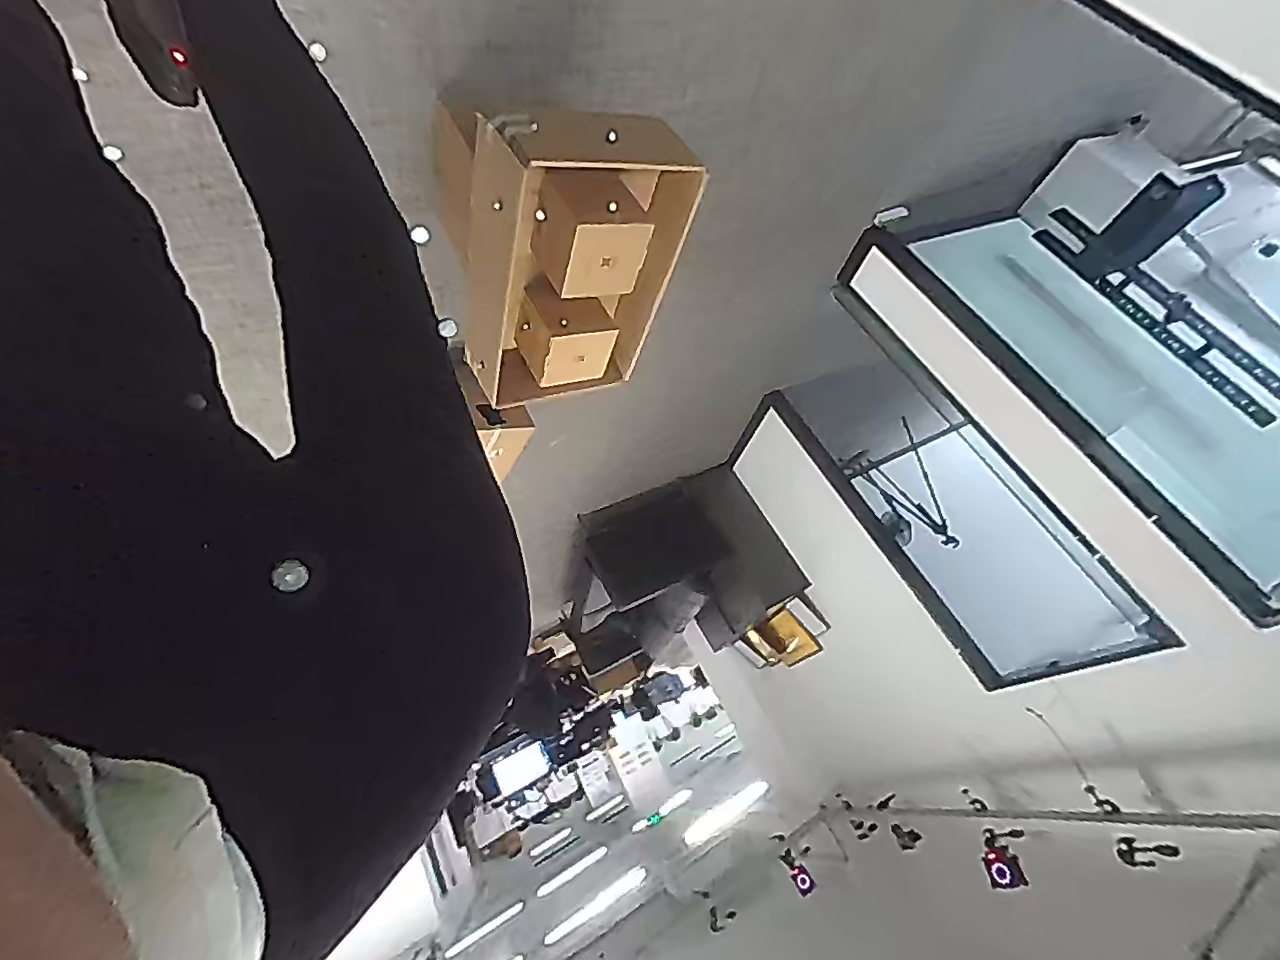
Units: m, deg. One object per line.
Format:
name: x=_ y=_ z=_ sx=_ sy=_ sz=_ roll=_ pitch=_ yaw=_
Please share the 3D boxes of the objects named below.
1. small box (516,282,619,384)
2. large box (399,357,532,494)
small box: x=-0.180 y=-0.362 z=1.318 sx=0.179 sy=0.176 sz=0.168 roll=-16 pitch=154 yaw=-30
large box: x=-0.662 y=-0.197 z=2.012 sx=0.320 sy=0.320 sz=0.408 roll=-9 pitch=149 yaw=-44
